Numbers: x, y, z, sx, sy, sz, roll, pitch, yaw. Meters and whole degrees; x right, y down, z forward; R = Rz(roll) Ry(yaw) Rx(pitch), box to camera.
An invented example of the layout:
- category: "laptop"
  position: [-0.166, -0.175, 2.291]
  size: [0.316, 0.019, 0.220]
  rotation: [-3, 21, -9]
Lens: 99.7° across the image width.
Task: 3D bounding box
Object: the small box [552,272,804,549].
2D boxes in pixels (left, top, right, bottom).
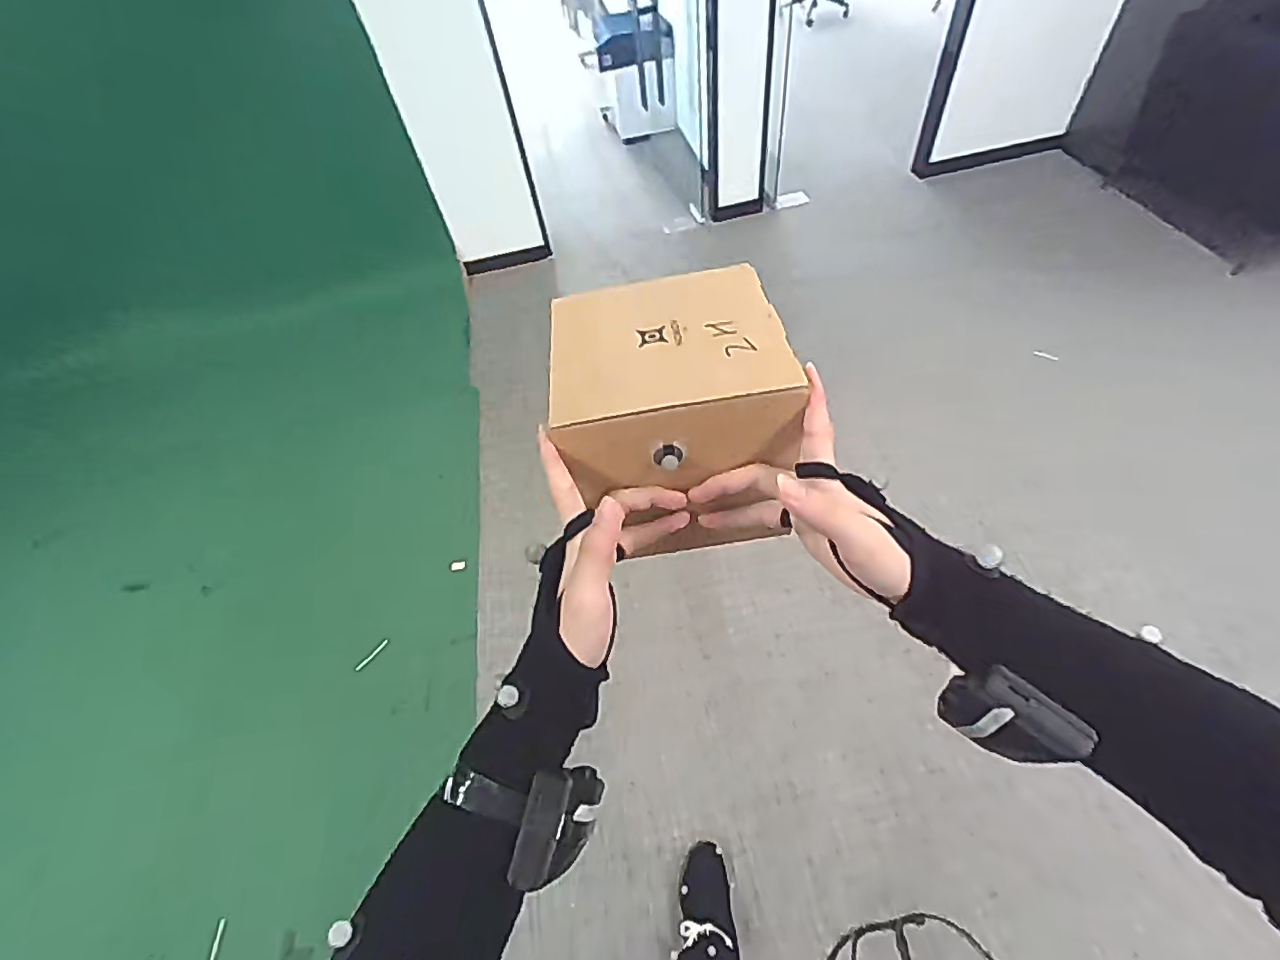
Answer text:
- category: "small box"
  position: [0.031, -0.055, 0.476]
  size: [0.179, 0.176, 0.168]
  rotation: [-8, 47, 2]
